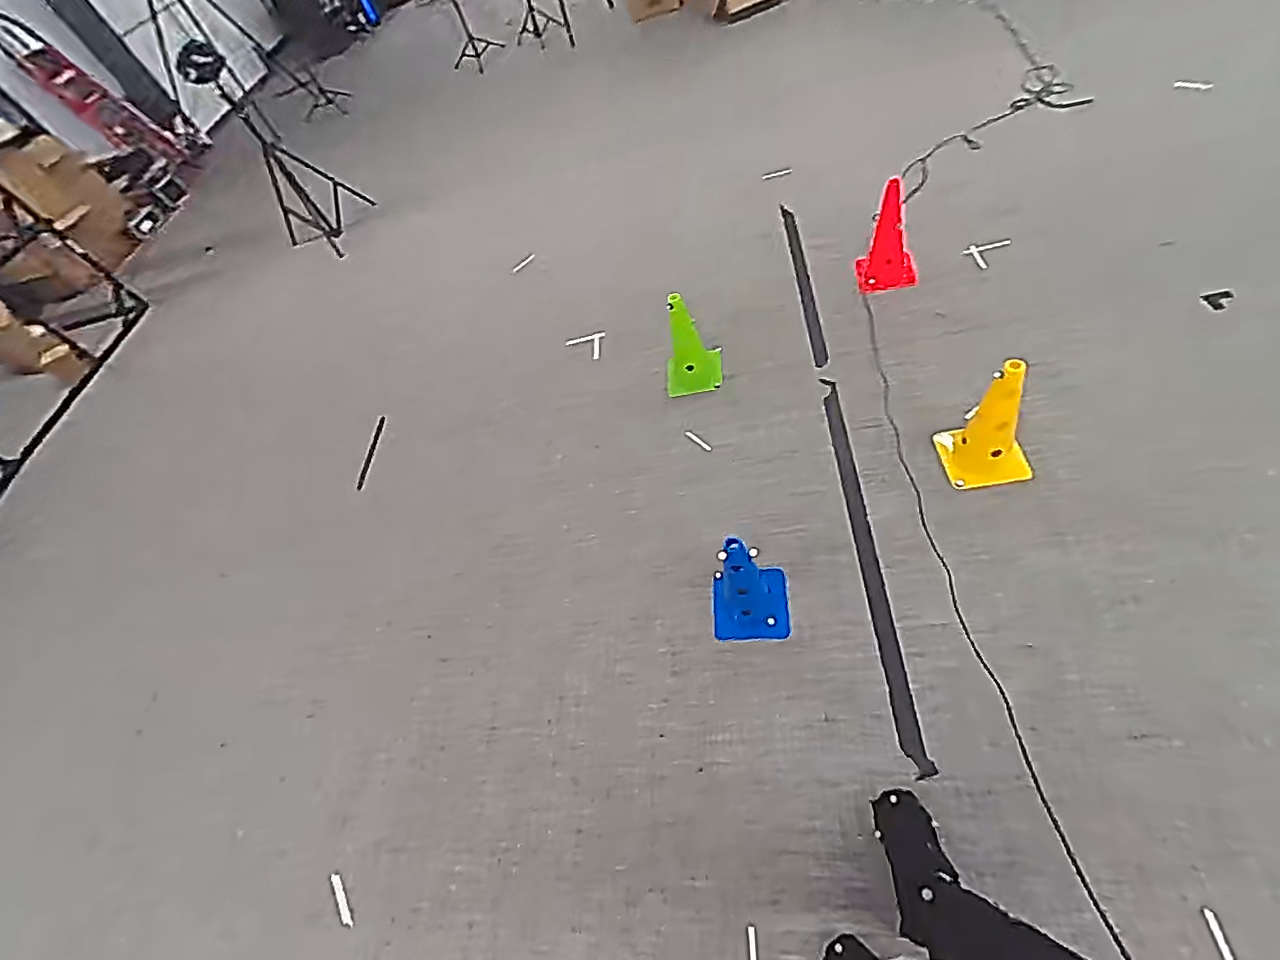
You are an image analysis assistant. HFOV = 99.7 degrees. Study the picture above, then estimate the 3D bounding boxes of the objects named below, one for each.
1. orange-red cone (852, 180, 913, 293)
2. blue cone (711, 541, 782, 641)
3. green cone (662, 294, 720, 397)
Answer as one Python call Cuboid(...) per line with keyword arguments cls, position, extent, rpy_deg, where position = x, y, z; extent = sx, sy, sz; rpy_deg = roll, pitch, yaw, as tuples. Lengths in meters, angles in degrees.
Cuboid(cls="orange-red cone", position=(0.865, -0.872, 1.899), extent=(0.199, 0.360, 0.198), rpy_deg=(-4, 57, 15))
Cuboid(cls="blue cone", position=(0.240, 0.252, 1.346), extent=(0.192, 0.380, 0.193), rpy_deg=(-6, 55, 17))
Cuboid(cls="green cone", position=(0.145, -0.492, 1.879), extent=(0.202, 0.368, 0.200), rpy_deg=(-9, 54, 15))
